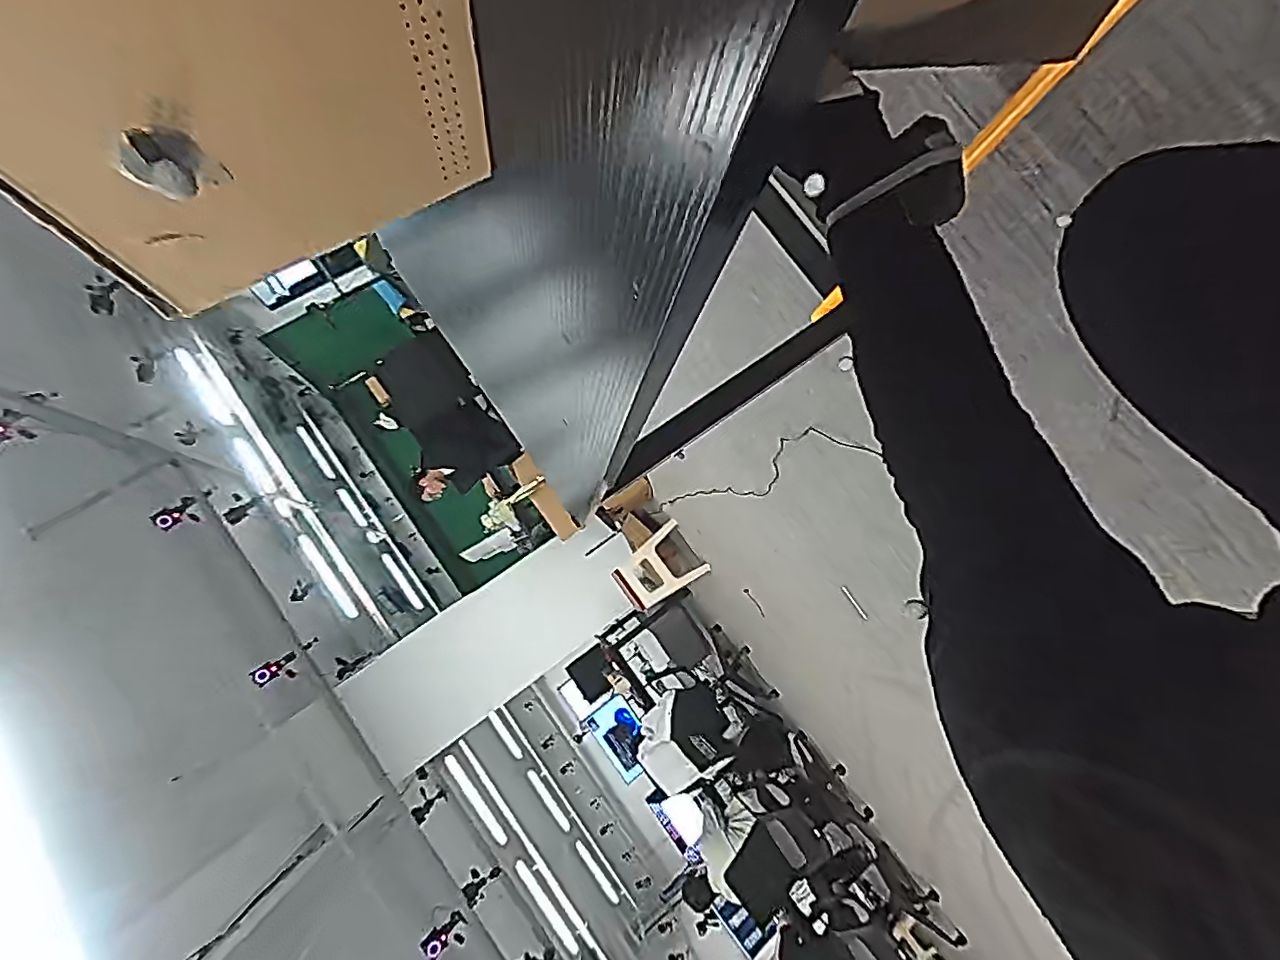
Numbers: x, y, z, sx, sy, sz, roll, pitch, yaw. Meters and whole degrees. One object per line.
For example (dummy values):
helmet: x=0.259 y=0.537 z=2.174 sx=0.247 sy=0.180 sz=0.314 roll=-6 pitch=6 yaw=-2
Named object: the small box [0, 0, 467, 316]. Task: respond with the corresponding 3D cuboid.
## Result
small box: x=-0.180 y=-0.198 z=0.193 sx=0.168 sy=0.176 sz=0.179 roll=55 pitch=166 yaw=3
